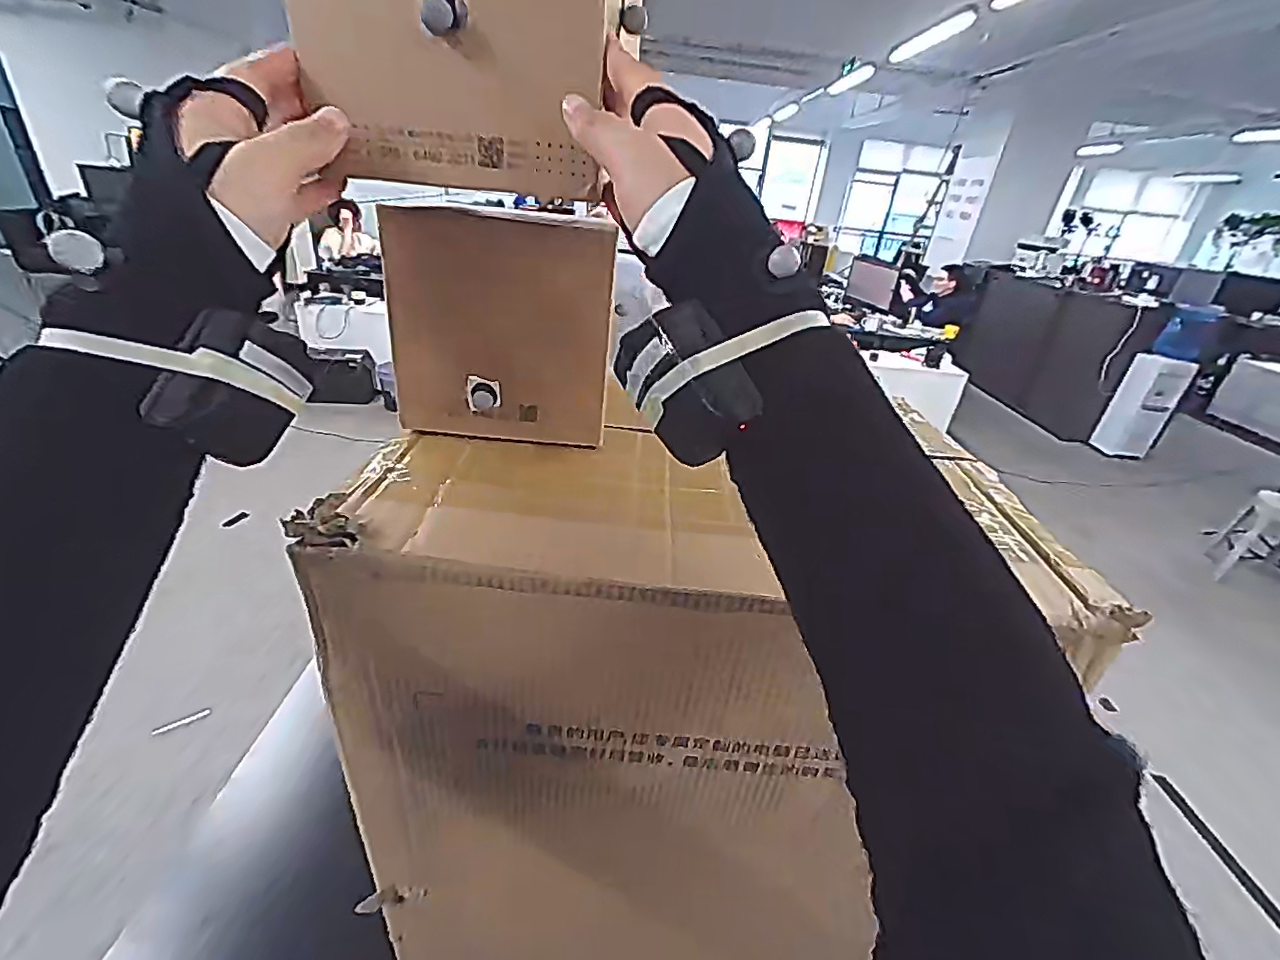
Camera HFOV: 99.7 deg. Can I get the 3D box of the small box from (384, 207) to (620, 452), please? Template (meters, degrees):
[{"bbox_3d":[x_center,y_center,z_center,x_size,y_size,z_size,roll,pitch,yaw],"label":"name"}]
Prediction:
[{"bbox_3d":[-0.106,-0.140,0.483,0.168,0.176,0.179,3,28,-5],"label":"small box"}]

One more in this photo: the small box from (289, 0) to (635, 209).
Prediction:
[{"bbox_3d":[-0.092,-0.272,0.341,0.168,0.176,0.179,6,30,2],"label":"small box"}]
